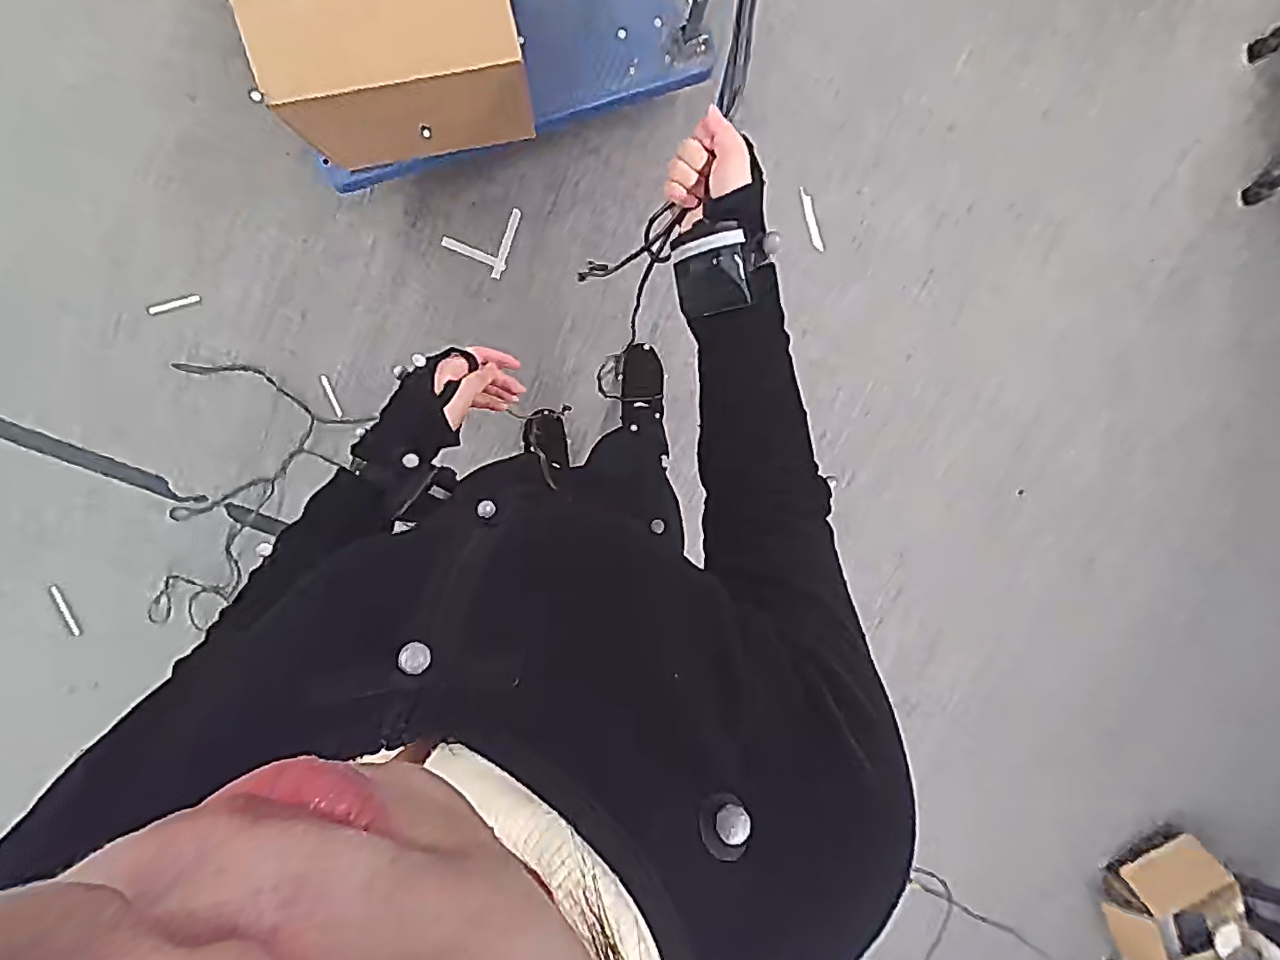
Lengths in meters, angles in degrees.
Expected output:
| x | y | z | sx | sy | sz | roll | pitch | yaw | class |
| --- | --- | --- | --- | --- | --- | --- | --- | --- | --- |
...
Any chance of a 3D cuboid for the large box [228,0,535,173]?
| x | y | z | sx | sy | sz | roll | pitch | yaw | class |
| --- | --- | --- | --- | --- | --- | --- | --- | --- | --- |
| -0.428 | -0.785 | 0.945 | 0.408 | 0.320 | 0.320 | -14 | 103 | -3 | large box |
